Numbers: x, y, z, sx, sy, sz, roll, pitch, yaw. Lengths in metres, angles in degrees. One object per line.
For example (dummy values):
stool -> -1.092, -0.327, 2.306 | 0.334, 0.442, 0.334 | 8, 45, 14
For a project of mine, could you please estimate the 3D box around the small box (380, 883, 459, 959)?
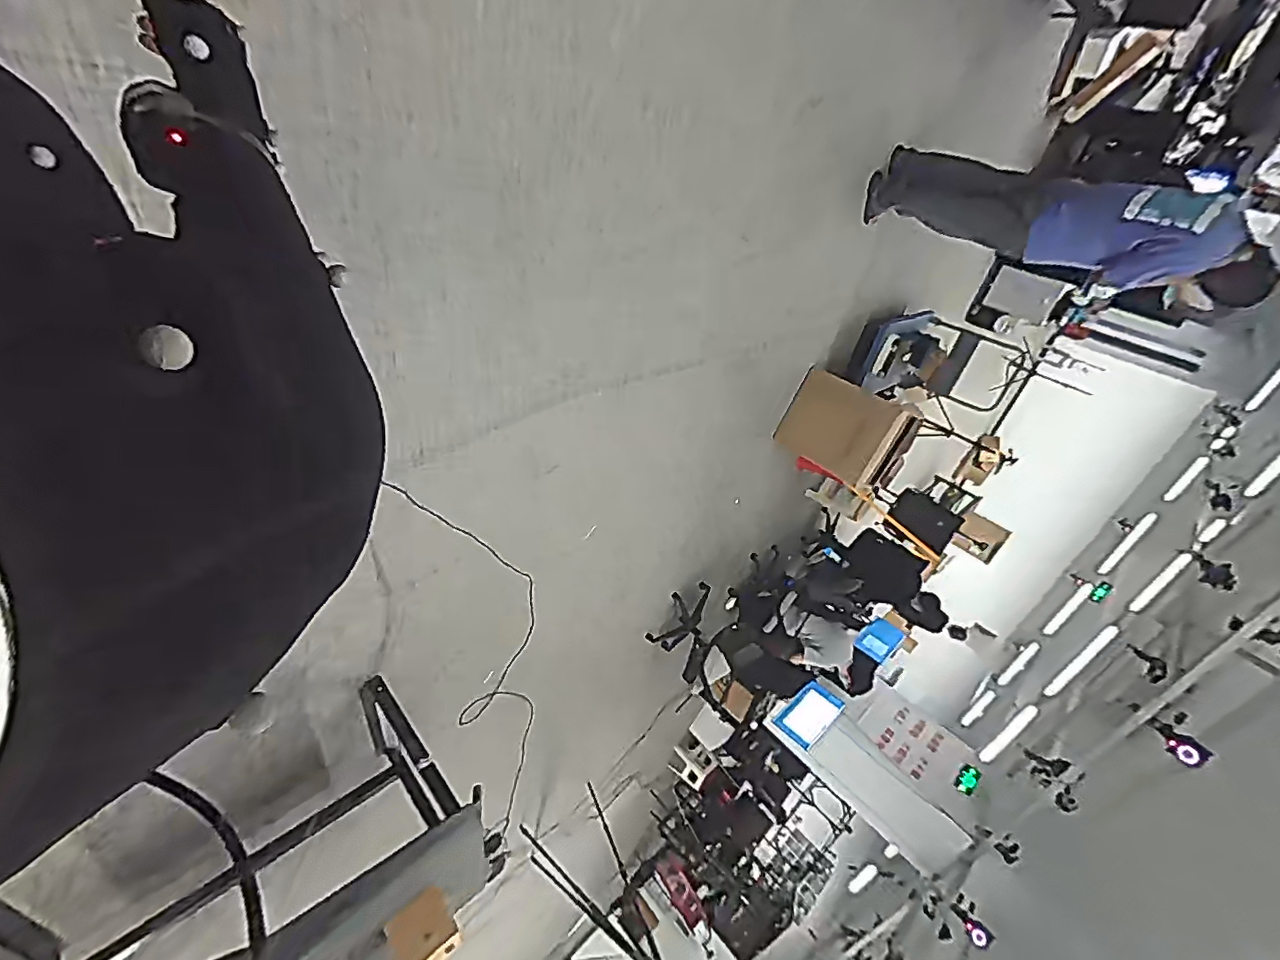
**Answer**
small box -> -0.706, 1.454, 1.737 | 0.179, 0.176, 0.168 | -25, 138, -37
